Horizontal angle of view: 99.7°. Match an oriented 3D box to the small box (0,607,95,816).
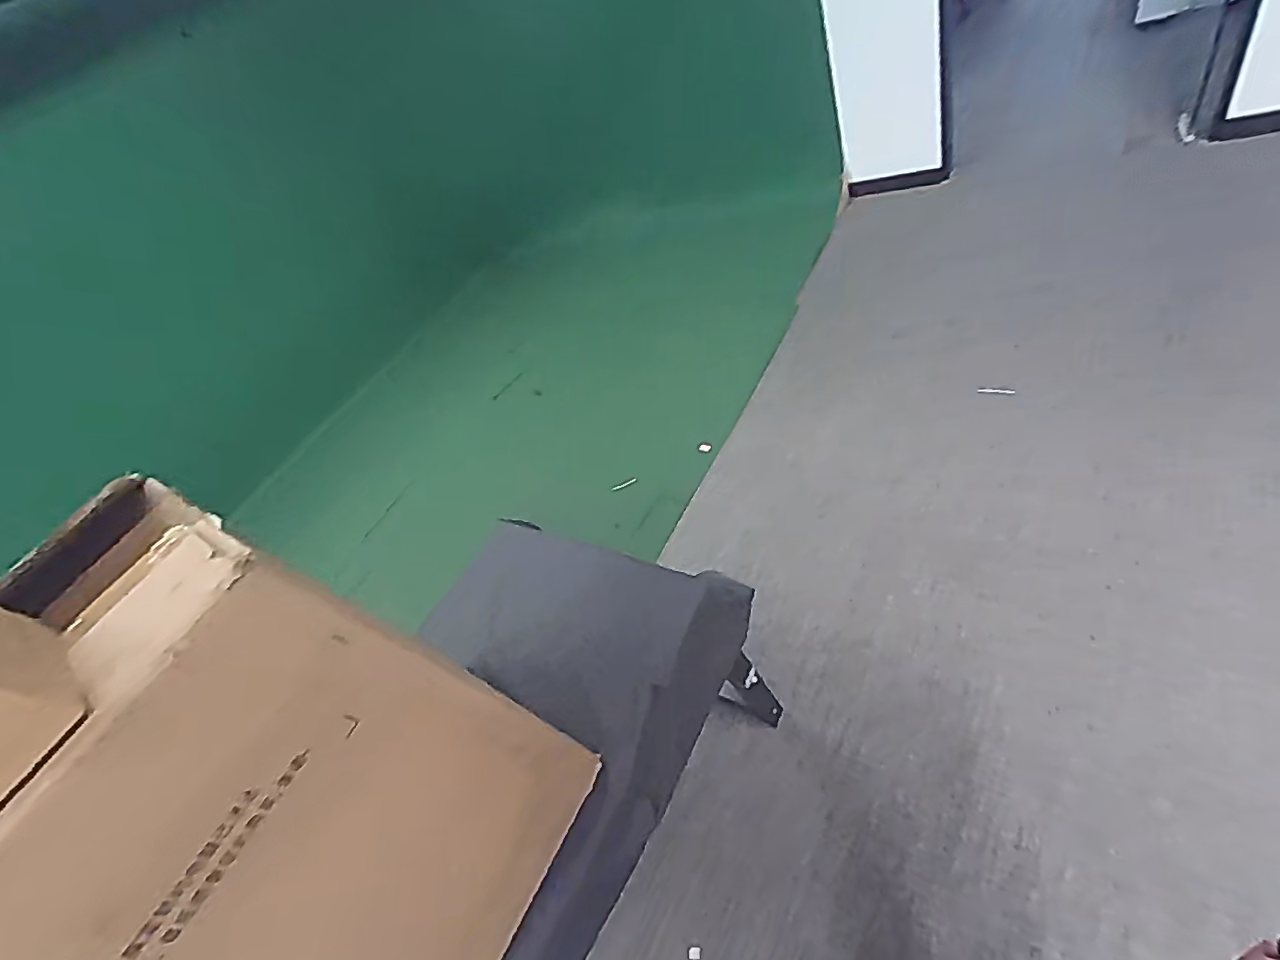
[{"bbox_3d":[-0.519,0.162,0.347,0.179,0.176,0.168,12,60,37],"label":"small box"}]
